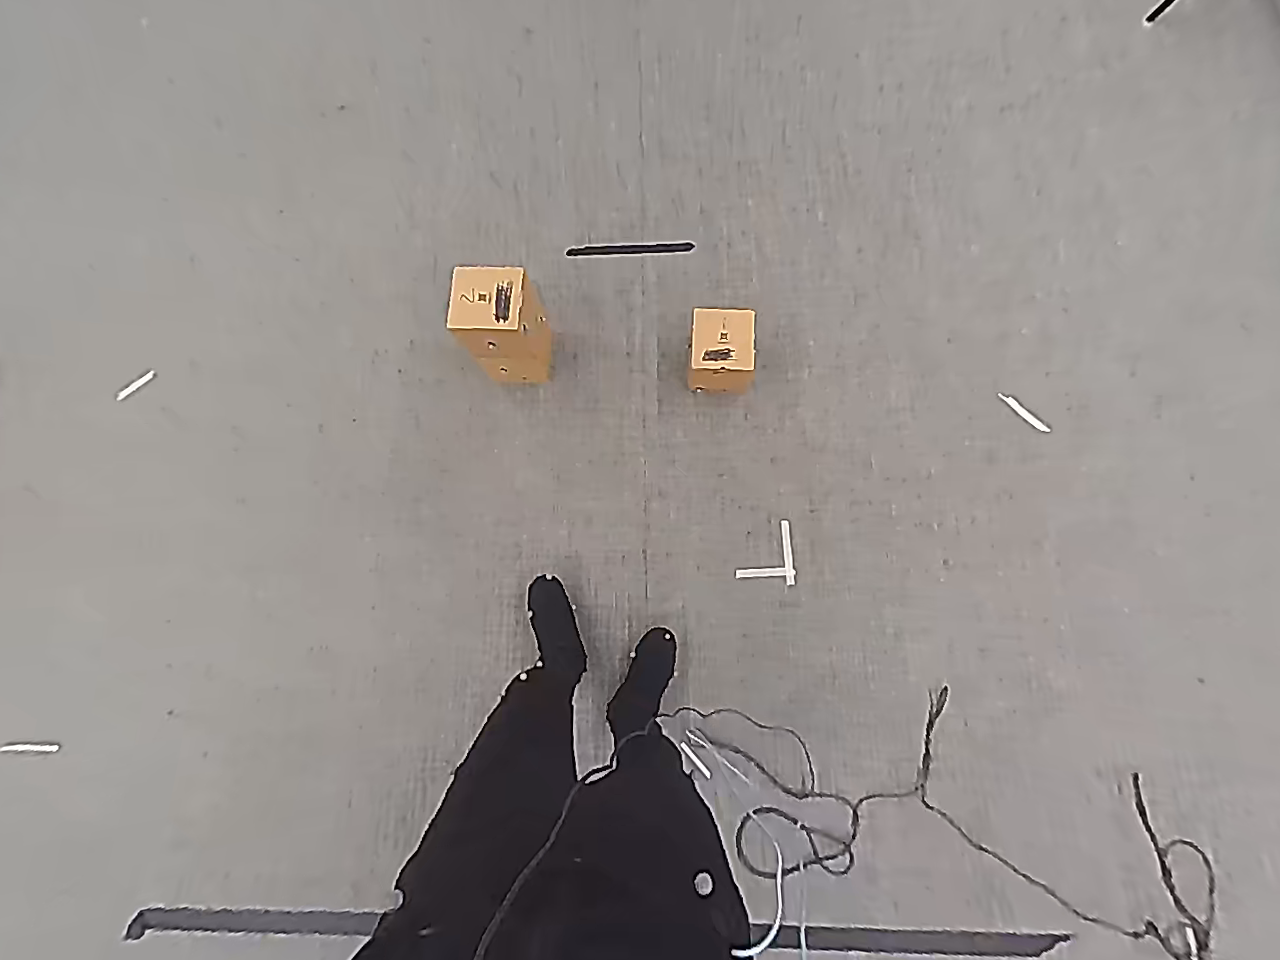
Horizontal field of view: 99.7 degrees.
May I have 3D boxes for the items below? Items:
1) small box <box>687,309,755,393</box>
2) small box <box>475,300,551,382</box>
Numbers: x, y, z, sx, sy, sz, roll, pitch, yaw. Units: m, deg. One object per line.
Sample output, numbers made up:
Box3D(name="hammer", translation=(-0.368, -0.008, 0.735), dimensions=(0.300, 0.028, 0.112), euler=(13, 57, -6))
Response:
Box3D(name="small box", translation=(0.221, -0.352, 1.499), dimensions=(0.168, 0.176, 0.179), euler=(3, 78, 2))
Box3D(name="small box", translation=(-0.352, -0.387, 1.525), dimensions=(0.168, 0.176, 0.179), euler=(1, 78, 3))
